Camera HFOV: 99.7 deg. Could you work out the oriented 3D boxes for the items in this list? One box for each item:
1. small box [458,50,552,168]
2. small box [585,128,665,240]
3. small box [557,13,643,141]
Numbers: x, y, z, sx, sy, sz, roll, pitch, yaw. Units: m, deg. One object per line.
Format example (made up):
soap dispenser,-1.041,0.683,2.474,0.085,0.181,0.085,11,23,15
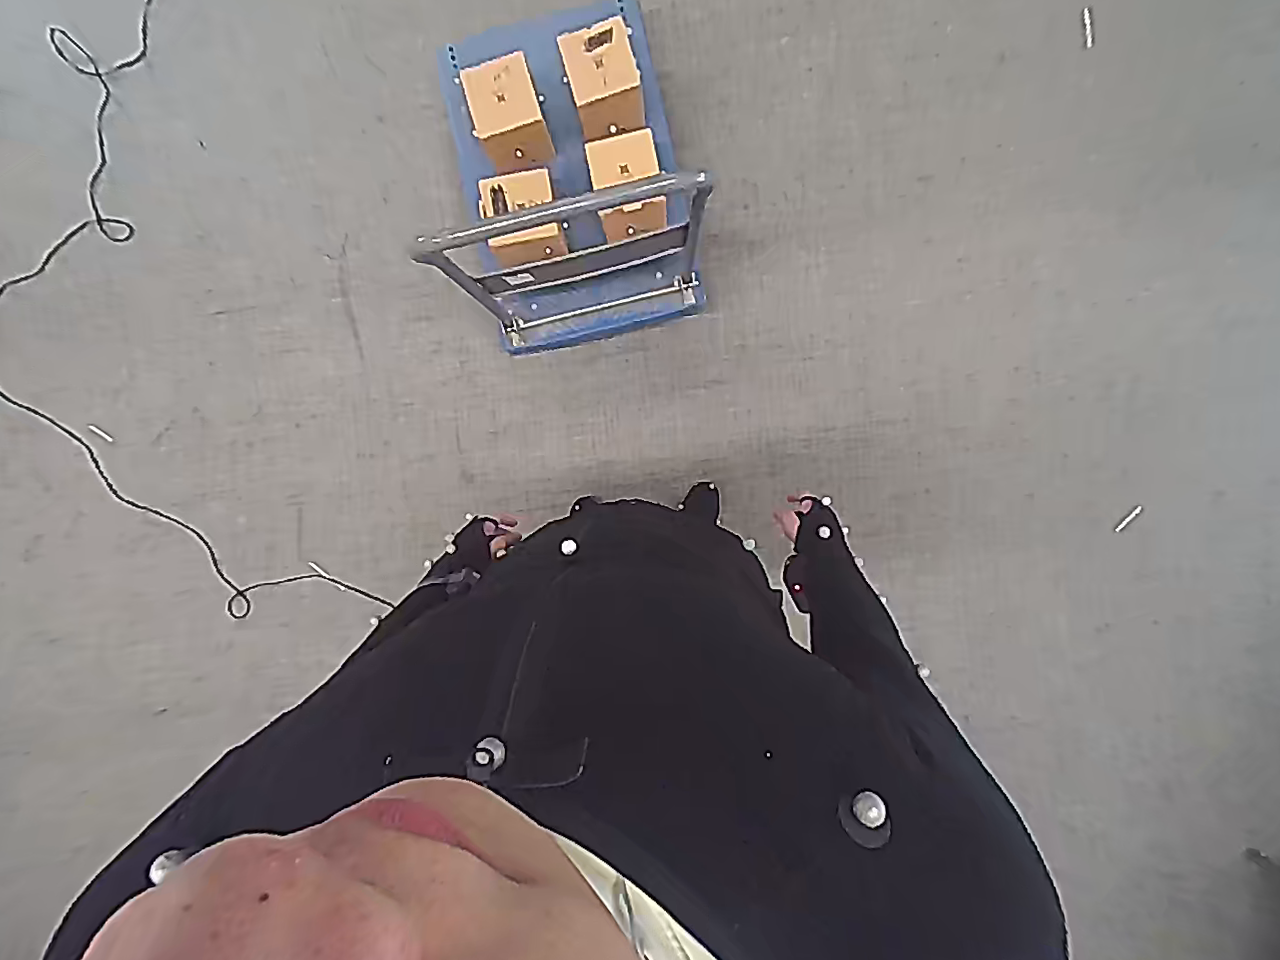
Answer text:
small box,-0.336,-0.933,1.383,0.168,0.176,0.179,-16,90,3
small box,-0.035,-0.743,1.372,0.168,0.176,0.179,-12,91,3
small box,-0.096,-1.007,1.368,0.168,0.176,0.179,-16,92,4
